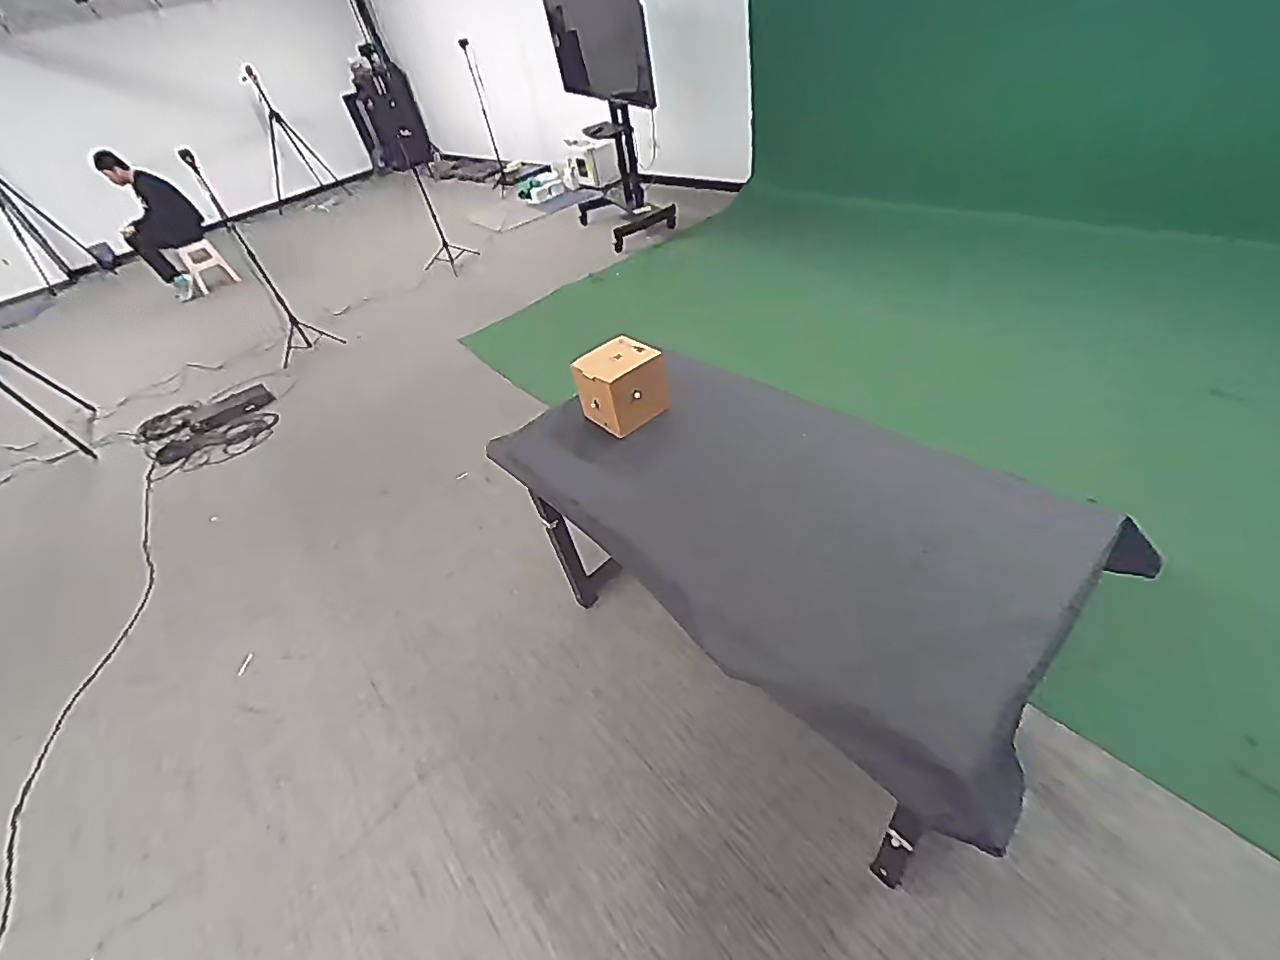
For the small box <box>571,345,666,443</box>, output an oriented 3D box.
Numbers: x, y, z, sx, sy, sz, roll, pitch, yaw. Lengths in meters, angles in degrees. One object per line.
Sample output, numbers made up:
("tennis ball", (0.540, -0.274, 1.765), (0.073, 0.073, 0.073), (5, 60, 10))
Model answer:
("small box", (-0.049, -0.225, 1.421), (0.179, 0.176, 0.168), (-36, 47, -23))
